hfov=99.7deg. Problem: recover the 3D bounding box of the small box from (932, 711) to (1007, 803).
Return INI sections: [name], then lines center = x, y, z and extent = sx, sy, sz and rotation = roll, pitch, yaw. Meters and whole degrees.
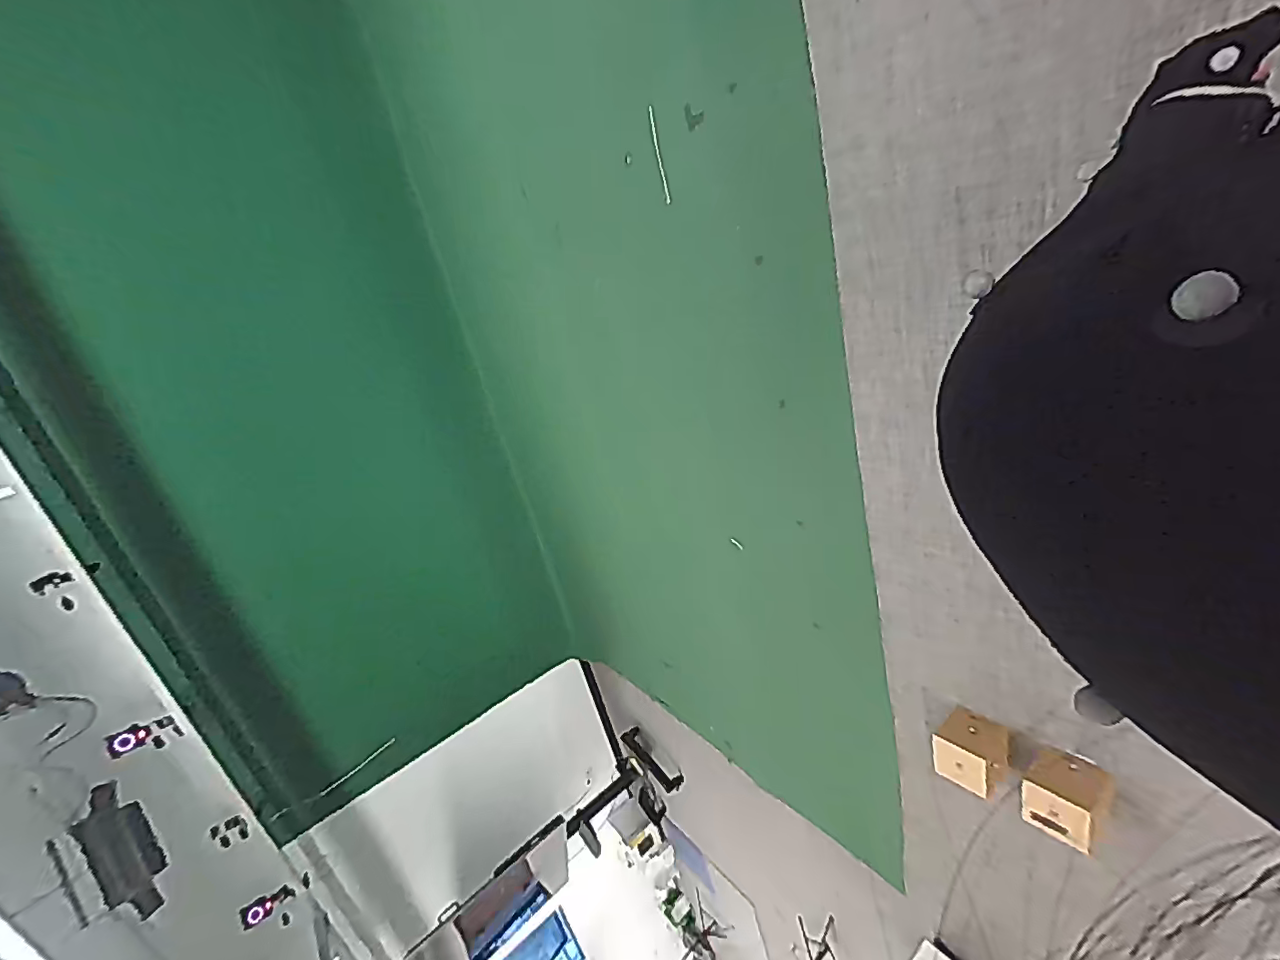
[small box]
center = 1.102, 0.916, 1.807
extent = 0.168, 0.176, 0.179
rotation = 14, 124, 54
